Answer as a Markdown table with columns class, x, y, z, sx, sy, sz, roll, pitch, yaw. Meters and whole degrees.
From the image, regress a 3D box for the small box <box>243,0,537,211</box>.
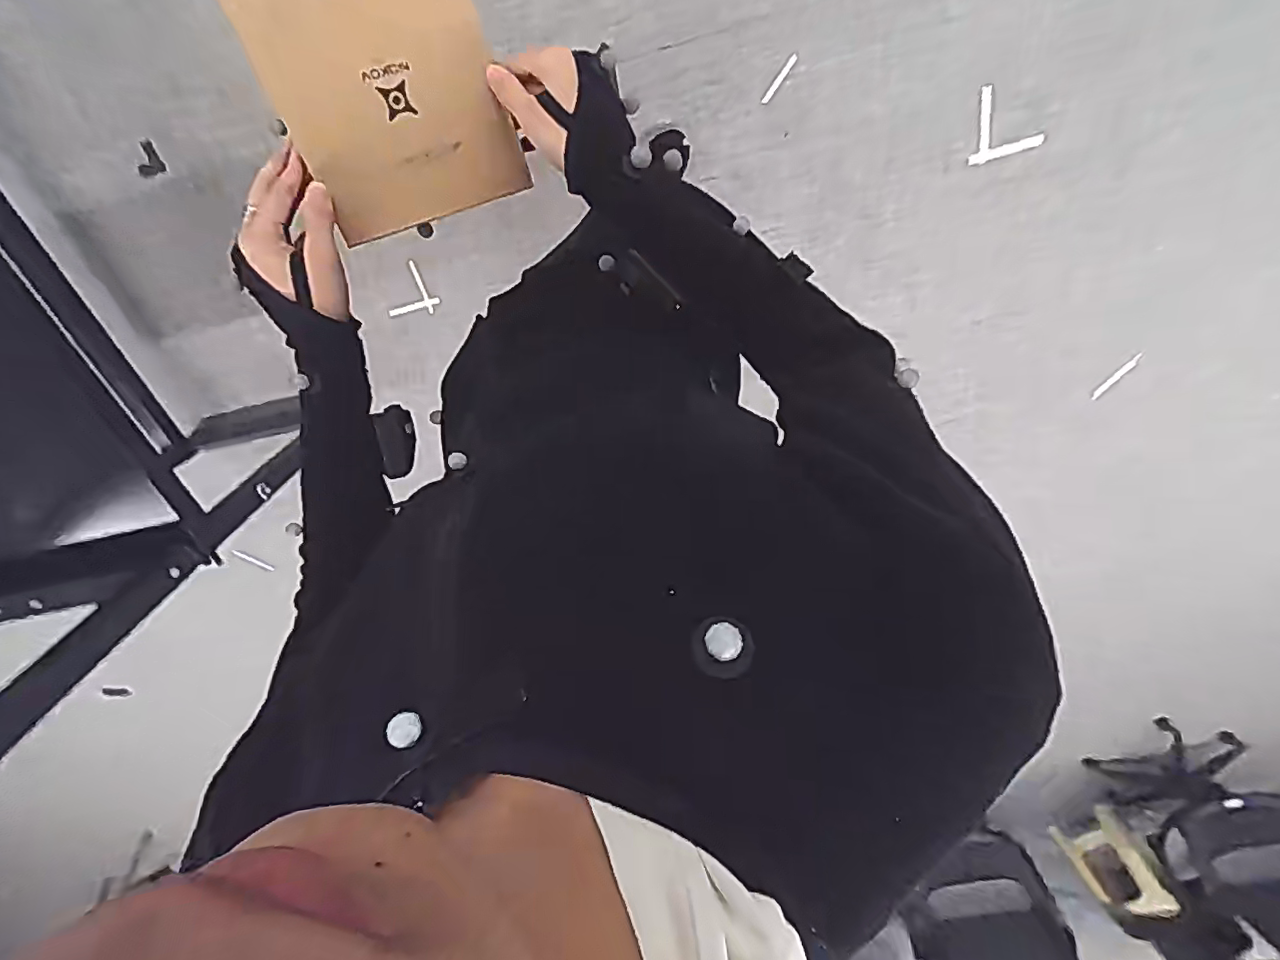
| class | x | y | z | sx | sy | sz | roll | pitch | yaw |
| --- | --- | --- | --- | --- | --- | --- | --- | --- | --- |
| small box | -0.209 | -0.342 | 0.460 | 0.168 | 0.176 | 0.179 | -24 | 123 | -12 |
